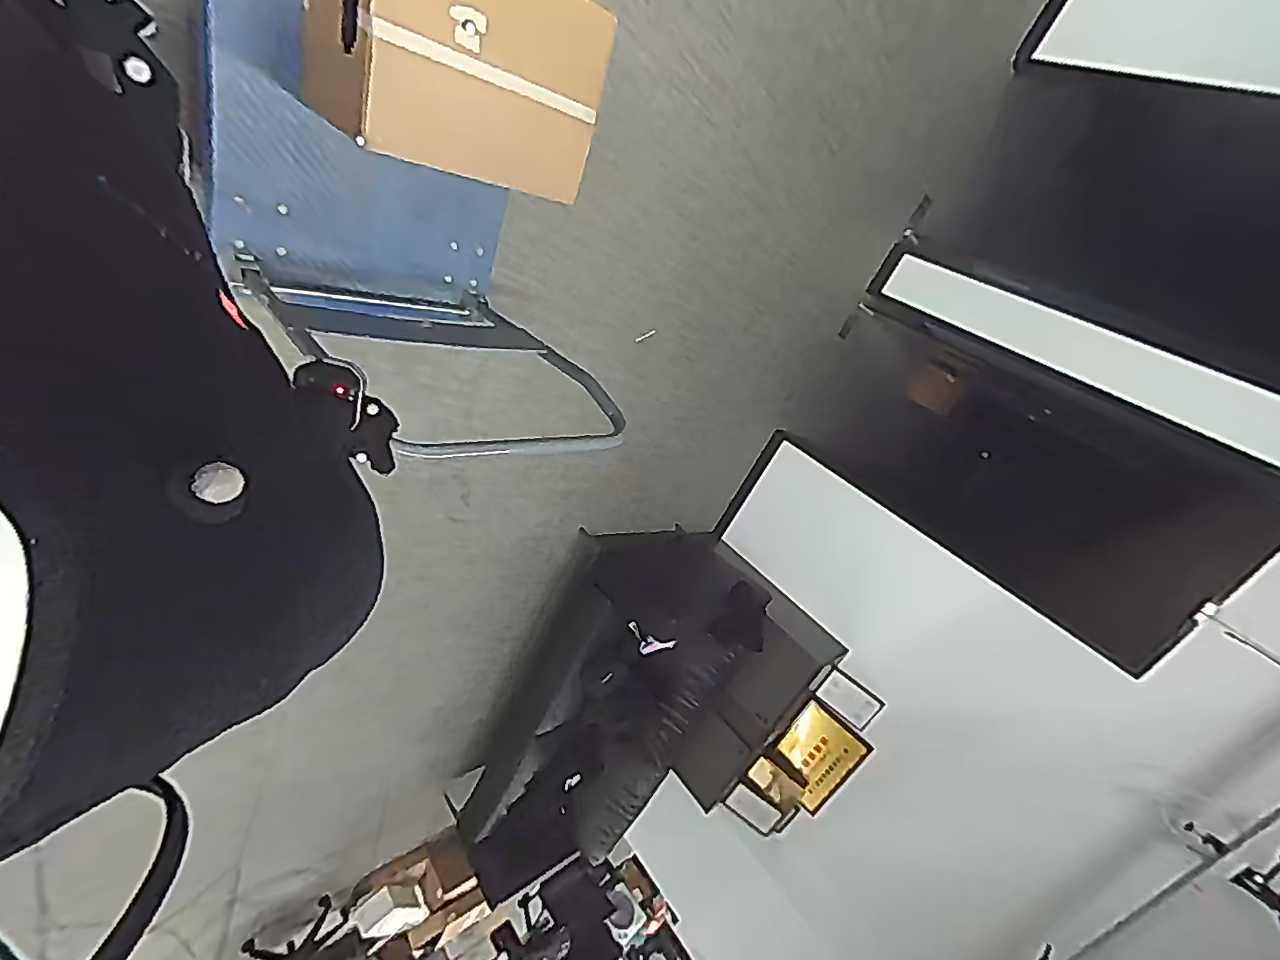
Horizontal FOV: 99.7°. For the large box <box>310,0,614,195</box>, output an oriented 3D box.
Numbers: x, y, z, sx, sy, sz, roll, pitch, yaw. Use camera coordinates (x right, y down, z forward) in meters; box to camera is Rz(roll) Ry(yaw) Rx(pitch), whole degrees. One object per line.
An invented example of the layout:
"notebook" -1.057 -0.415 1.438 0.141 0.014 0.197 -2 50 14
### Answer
"large box" -0.323 -0.752 0.966 0.408 0.320 0.320 -11 132 -42
